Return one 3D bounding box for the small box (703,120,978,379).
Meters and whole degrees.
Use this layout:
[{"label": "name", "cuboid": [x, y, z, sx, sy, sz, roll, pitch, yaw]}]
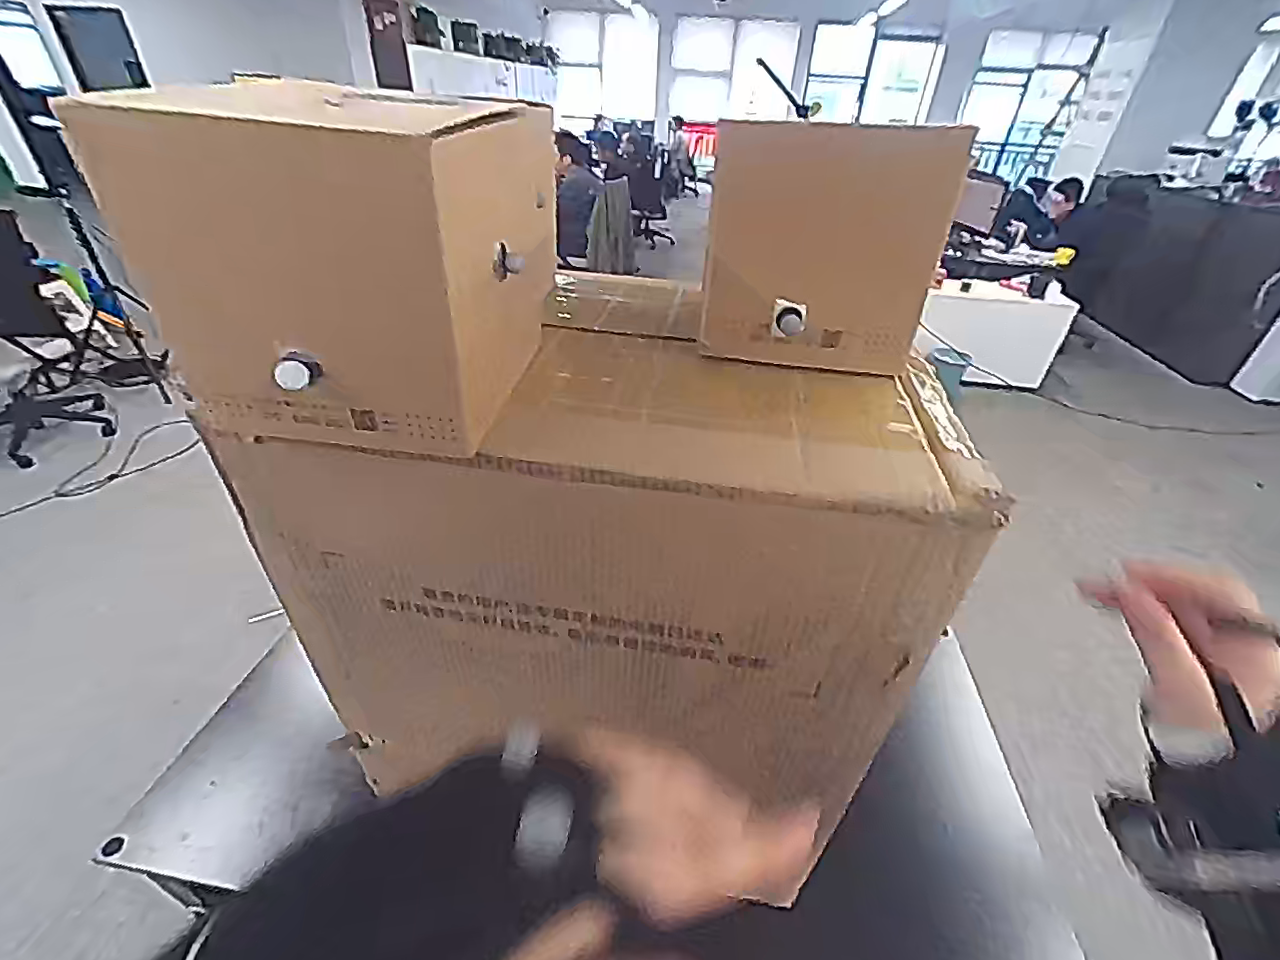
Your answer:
[{"label": "small box", "cuboid": [0.147, -0.202, 0.462, 0.168, 0.176, 0.179, 7, 34, 9]}]
